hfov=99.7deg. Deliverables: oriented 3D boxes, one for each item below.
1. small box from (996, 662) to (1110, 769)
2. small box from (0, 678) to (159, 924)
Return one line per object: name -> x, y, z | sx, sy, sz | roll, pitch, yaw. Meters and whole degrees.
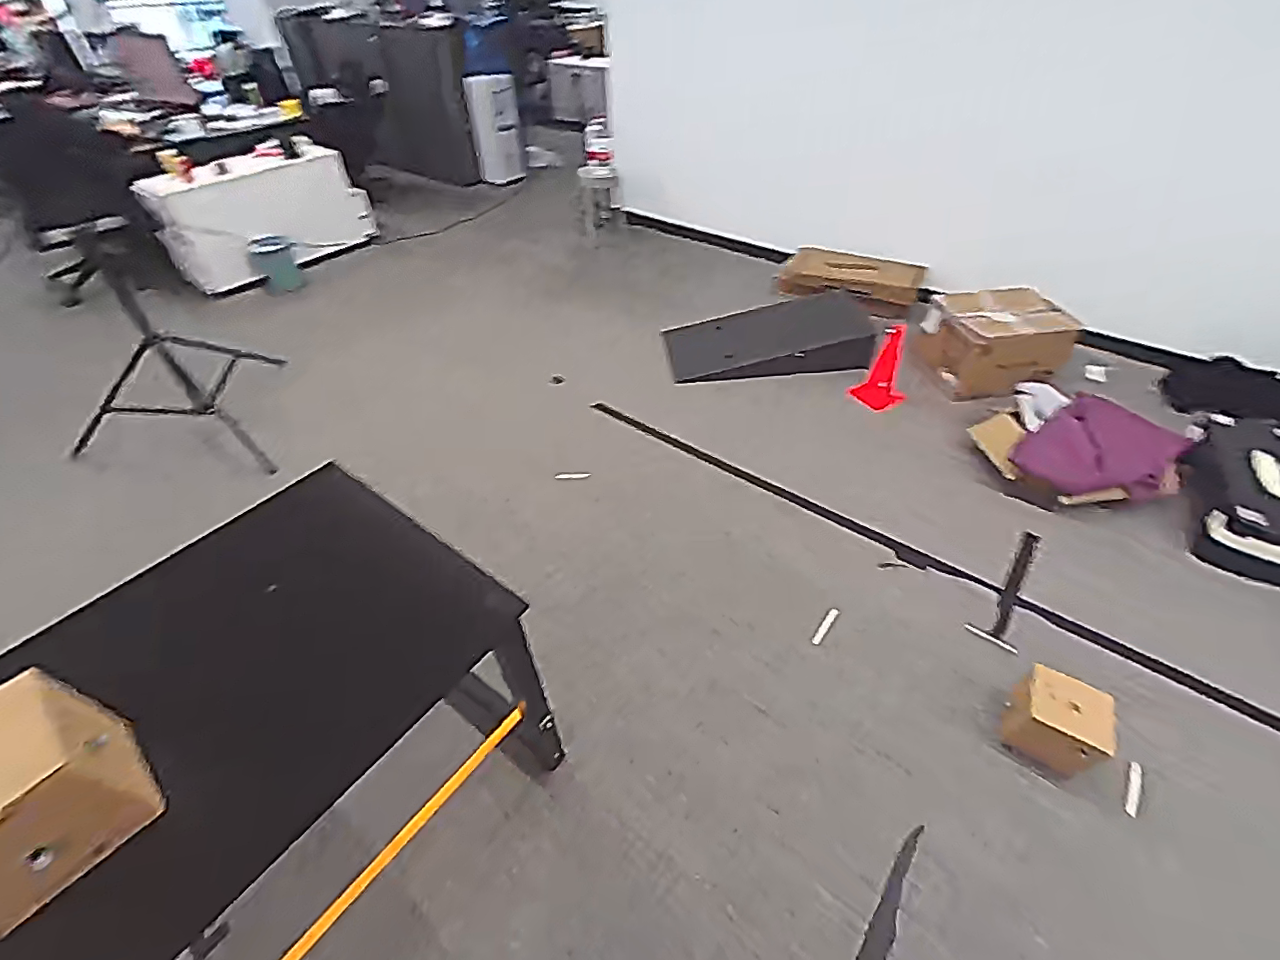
small box -> 1.061, 0.612, 1.394 | 0.179, 0.176, 0.168 | 23, 49, 22
small box -> -0.724, 0.377, 0.632 | 0.179, 0.176, 0.168 | 30, 52, 28
